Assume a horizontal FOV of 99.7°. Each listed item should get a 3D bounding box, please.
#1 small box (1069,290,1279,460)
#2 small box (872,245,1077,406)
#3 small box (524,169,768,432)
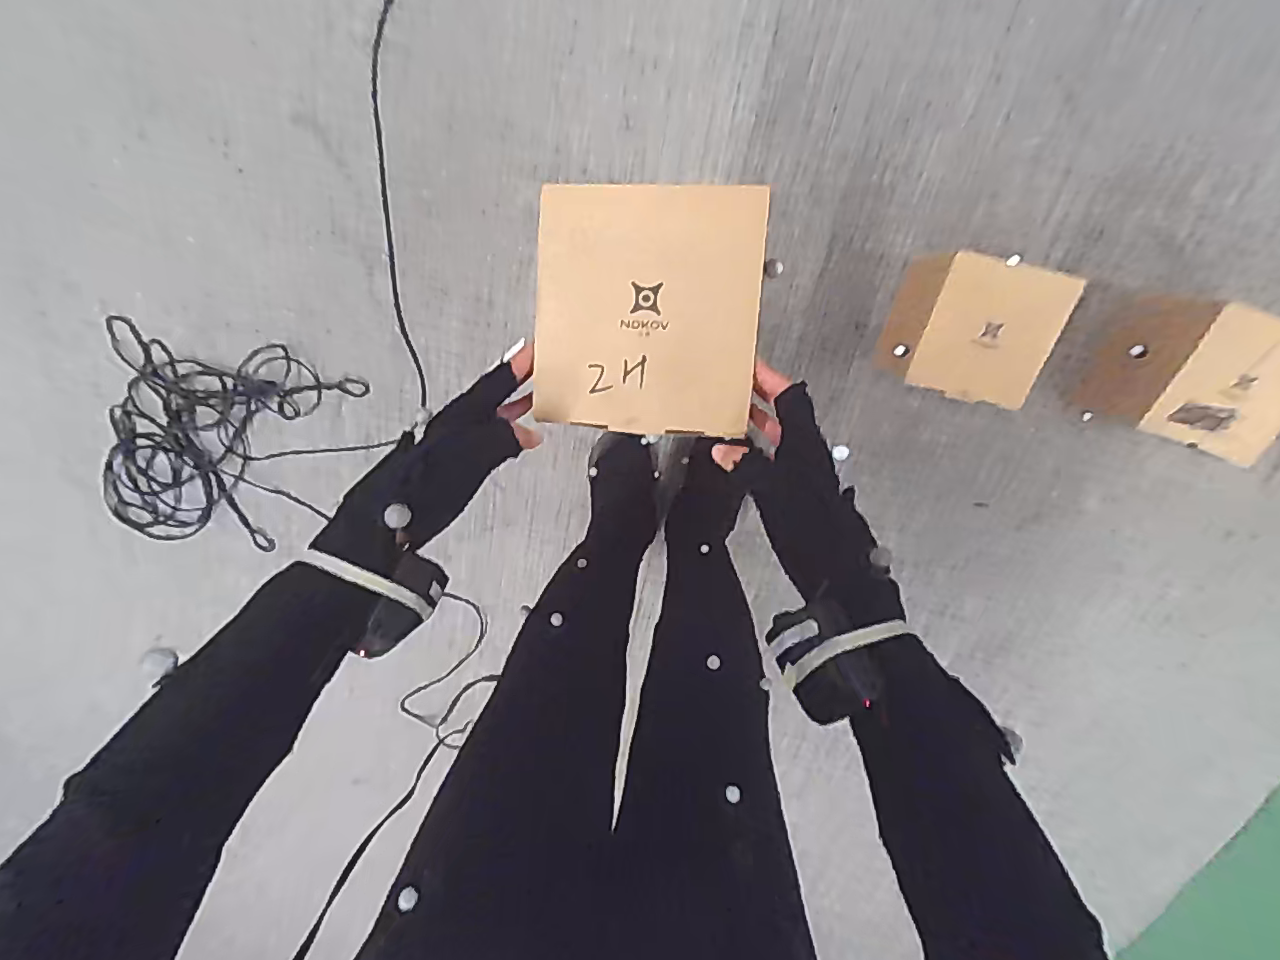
[{"bbox_3d":[0.766,-0.156,0.767,0.168,0.176,0.179,19,112,-1],"label":"small box"},{"bbox_3d":[0.459,-0.227,0.780,0.168,0.176,0.179,14,113,2],"label":"small box"},{"bbox_3d":[0.012,-0.137,0.460,0.168,0.176,0.179,5,99,9],"label":"small box"}]
